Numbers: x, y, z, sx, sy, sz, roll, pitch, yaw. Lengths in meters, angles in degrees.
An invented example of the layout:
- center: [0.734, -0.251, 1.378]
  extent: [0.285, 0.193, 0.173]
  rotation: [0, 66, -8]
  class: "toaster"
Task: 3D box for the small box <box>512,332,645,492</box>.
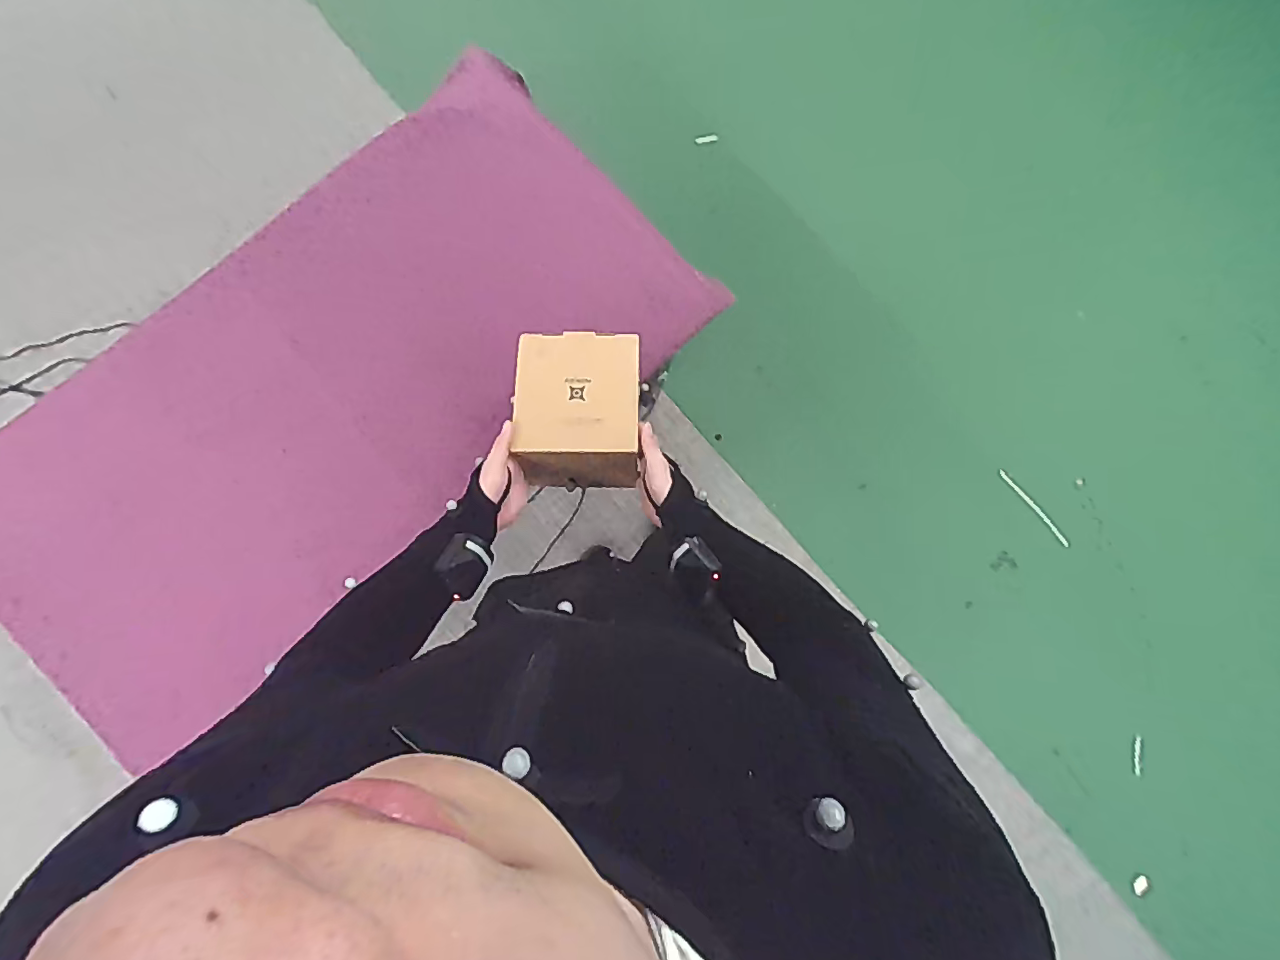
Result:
- center: [-0.081, -0.091, 0.785]
  extent: [0.168, 0.176, 0.179]
  rotation: [2, 73, 0]
  class: "small box"
